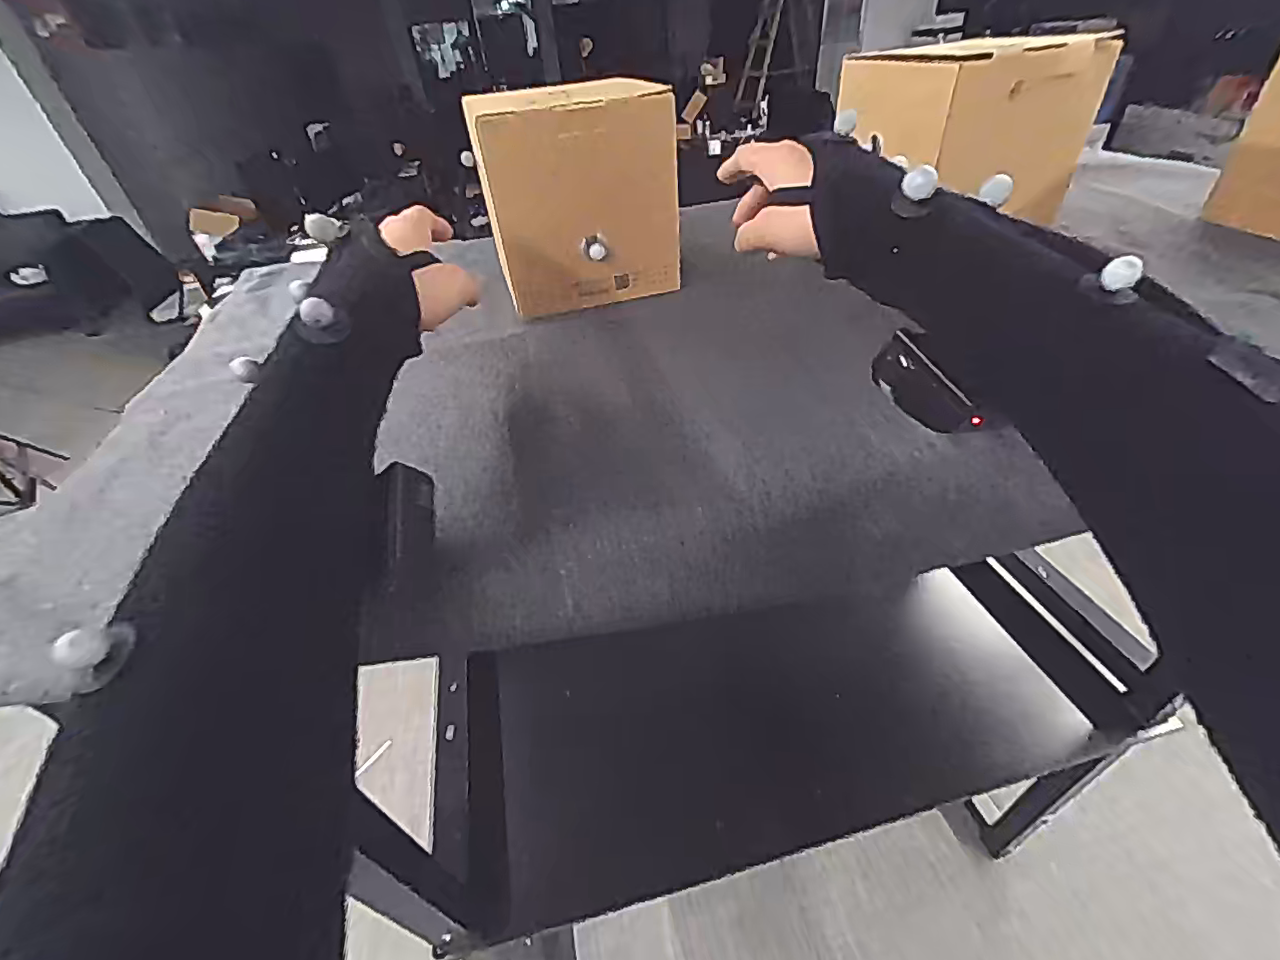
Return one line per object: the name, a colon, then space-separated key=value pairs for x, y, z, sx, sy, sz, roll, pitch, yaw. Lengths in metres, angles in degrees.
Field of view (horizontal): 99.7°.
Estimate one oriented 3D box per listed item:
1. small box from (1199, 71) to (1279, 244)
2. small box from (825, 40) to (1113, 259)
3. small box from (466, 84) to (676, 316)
small box: x=0.676 y=-0.301 z=0.472 sx=0.168 sy=0.176 sz=0.179 roll=-10 pitch=40 yaw=-4
small box: x=0.319 y=-0.344 z=0.570 sx=0.168 sy=0.176 sz=0.179 roll=-14 pitch=40 yaw=-10
small box: x=-0.069 y=-0.285 z=0.545 sx=0.168 sy=0.176 sz=0.179 roll=-15 pitch=41 yaw=-10
